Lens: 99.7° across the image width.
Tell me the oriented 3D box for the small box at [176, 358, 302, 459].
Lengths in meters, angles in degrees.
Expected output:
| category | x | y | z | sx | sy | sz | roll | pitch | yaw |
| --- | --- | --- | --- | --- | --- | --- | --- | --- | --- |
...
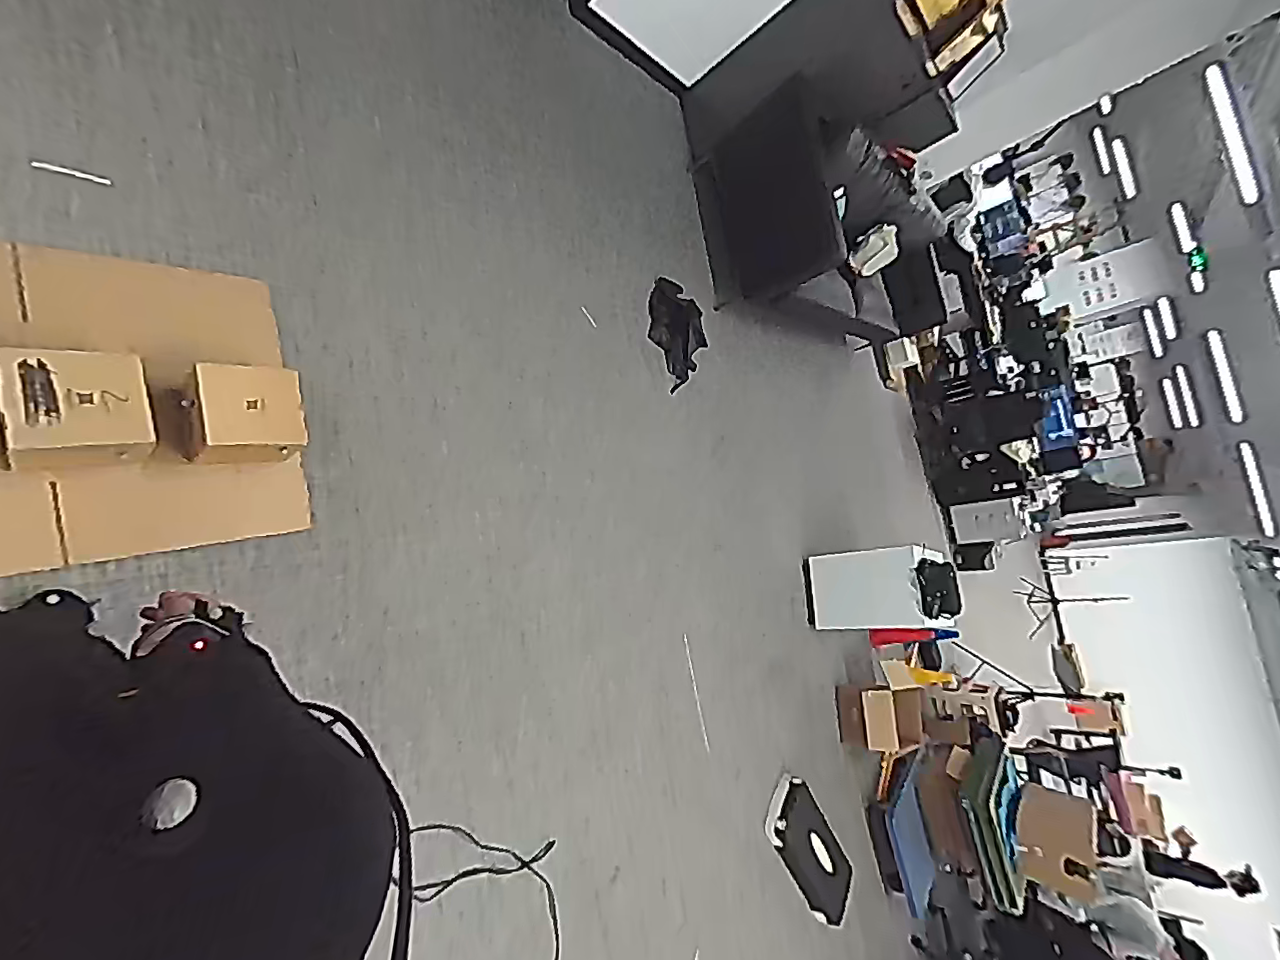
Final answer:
| category | x | y | z | sx | sy | sz | roll | pitch | yaw |
| --- | --- | --- | --- | --- | --- | --- | --- | --- | --- |
| small box | -0.839 | -0.141 | 1.127 | 0.179 | 0.176 | 0.168 | -6 | 84 | -50 |
